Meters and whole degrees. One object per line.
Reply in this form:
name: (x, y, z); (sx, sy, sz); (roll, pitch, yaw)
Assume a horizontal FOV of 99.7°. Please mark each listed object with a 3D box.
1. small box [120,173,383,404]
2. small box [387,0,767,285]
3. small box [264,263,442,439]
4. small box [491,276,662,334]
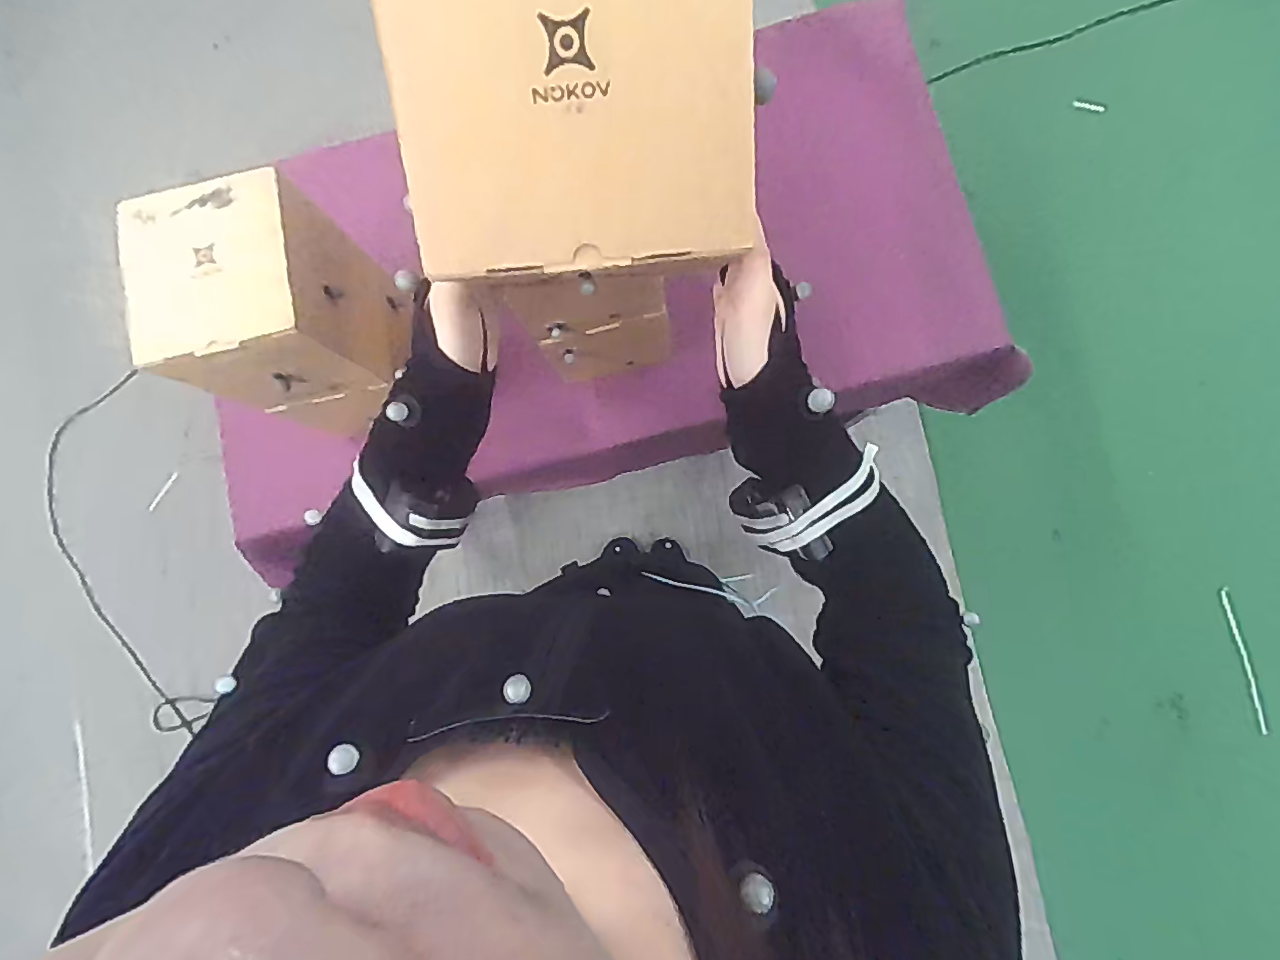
small box: (-0.411, -0.192, 0.600); (0.168, 0.176, 0.179); (-12, 83, 1)
small box: (-0.025, -0.212, 0.313); (0.168, 0.176, 0.179); (-4, 110, 3)
small box: (-0.401, -0.170, 0.763); (0.168, 0.176, 0.179); (-13, 83, 2)
small box: (-0.074, -0.277, 0.591); (0.168, 0.176, 0.179); (-14, 81, 2)
